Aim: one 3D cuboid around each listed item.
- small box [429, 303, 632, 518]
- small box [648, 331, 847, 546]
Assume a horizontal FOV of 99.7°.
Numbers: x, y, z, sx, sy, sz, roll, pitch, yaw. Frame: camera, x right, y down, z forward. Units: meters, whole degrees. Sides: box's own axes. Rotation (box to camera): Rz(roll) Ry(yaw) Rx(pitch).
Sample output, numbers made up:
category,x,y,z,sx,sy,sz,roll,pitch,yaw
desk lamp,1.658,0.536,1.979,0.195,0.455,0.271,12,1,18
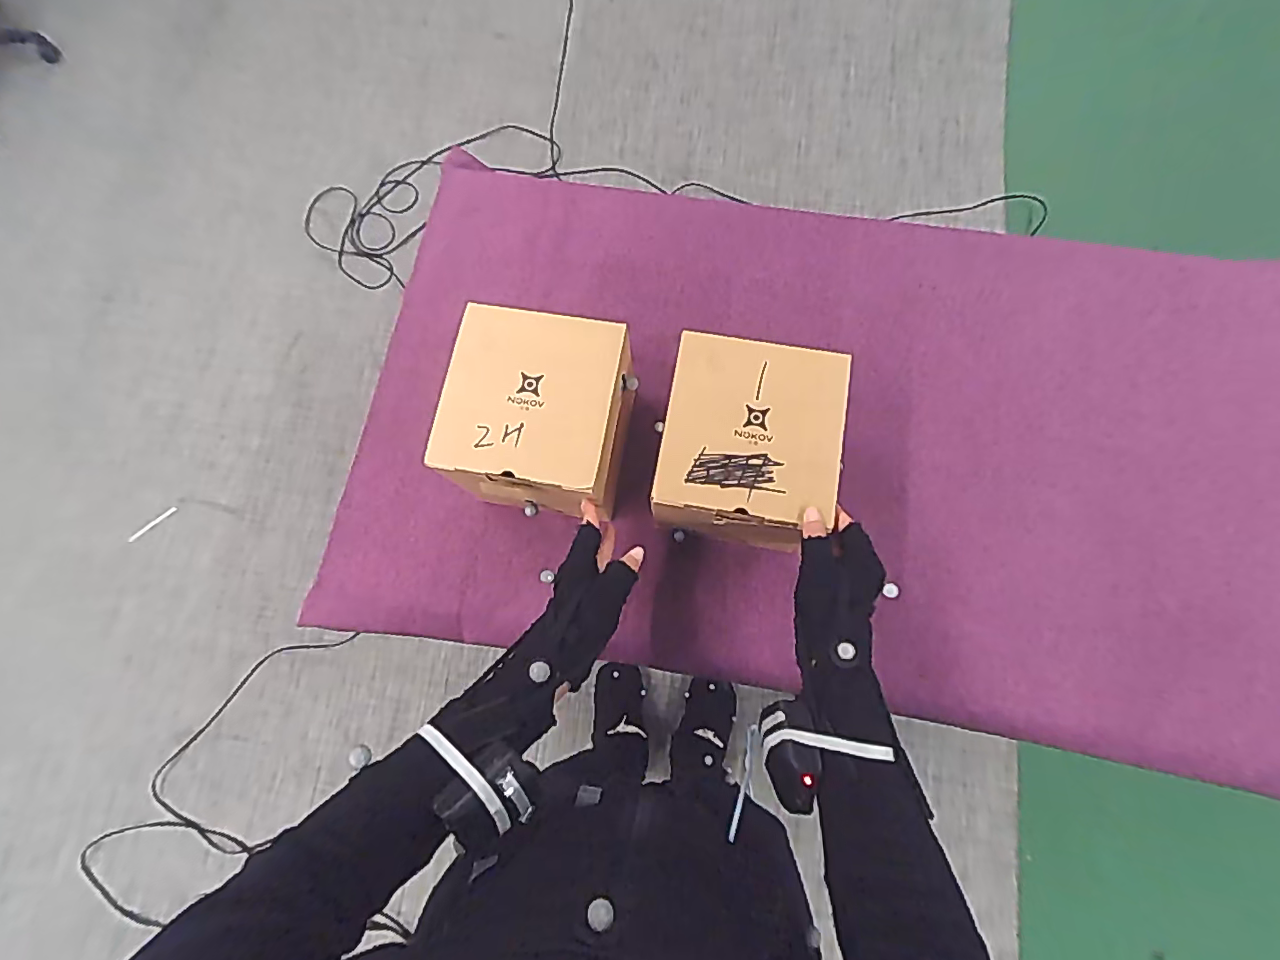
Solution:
category,x,y,z,sx,sy,sz,roll,pitch,yaw
small box,-0.104,-0.067,0.603,0.168,0.176,0.179,9,78,5
small box,0.108,-0.033,0.584,0.168,0.176,0.179,10,76,5
